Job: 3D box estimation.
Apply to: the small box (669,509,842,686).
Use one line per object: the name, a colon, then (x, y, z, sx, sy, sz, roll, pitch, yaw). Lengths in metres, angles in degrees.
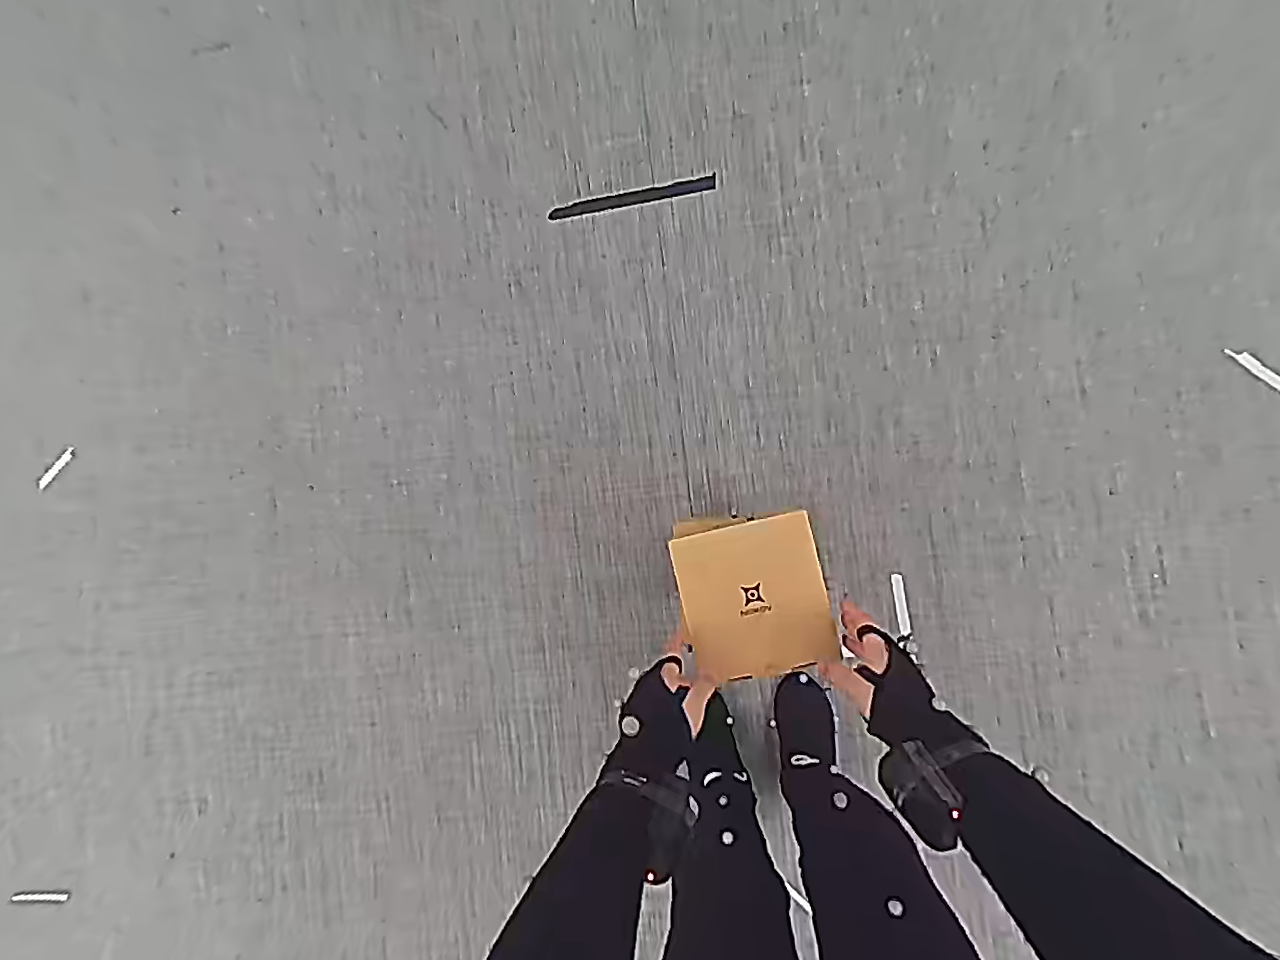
small box: (0.138, 0.139, 0.698, 0.168, 0.176, 0.179, -14, 86, 7)

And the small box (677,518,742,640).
small box: (0.146, 0.148, 0.861, 0.168, 0.176, 0.179, -2, 88, 8)
